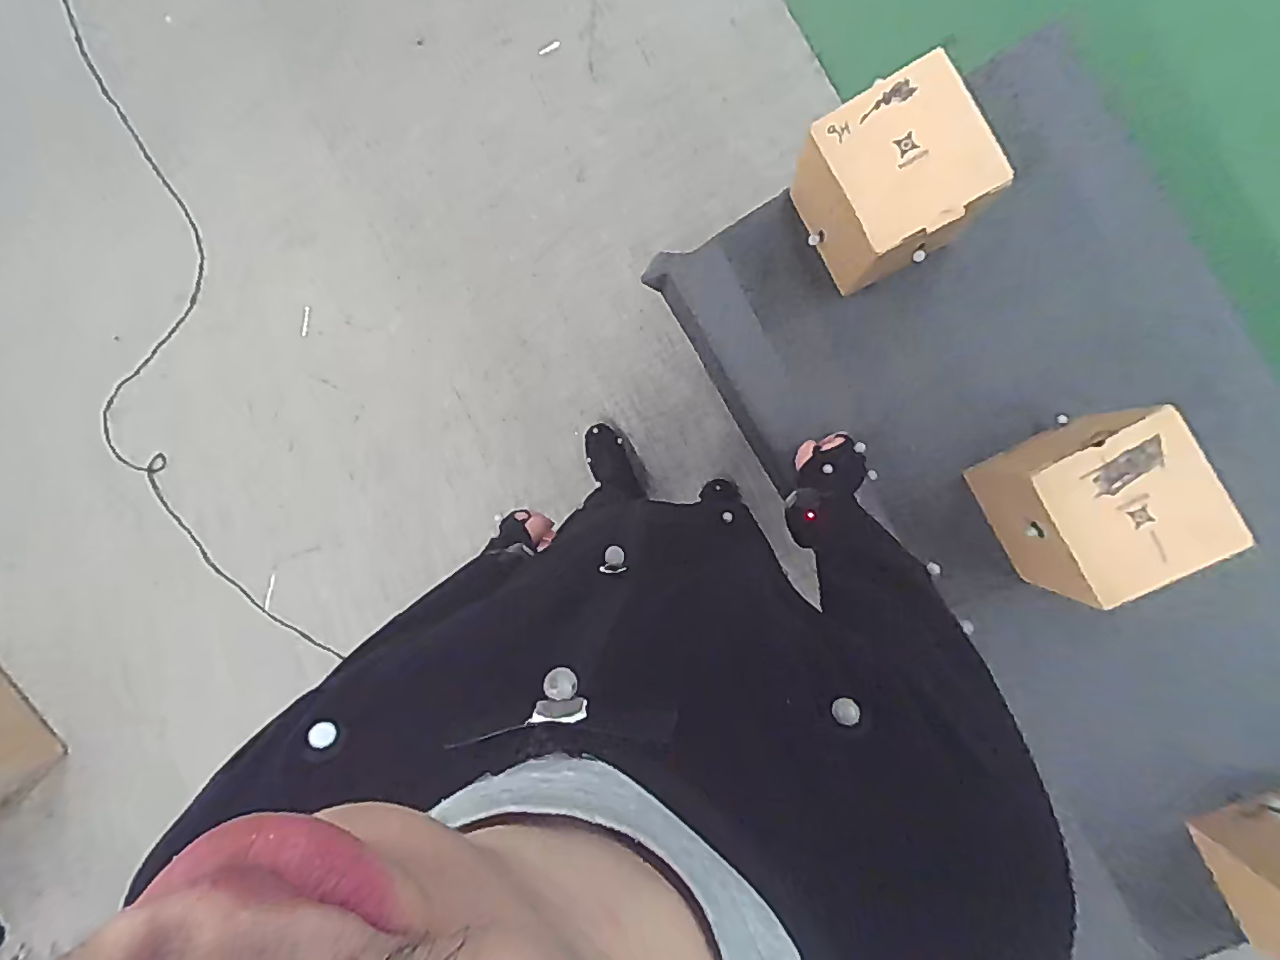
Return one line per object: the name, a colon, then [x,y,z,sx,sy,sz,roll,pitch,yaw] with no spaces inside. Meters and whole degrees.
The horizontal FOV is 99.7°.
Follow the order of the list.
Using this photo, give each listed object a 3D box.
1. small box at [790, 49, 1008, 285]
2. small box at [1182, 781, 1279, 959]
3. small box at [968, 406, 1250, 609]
small box: [0.310,-0.372,0.688,0.168,0.176,0.179,-27,89,8]
small box: [0.830,0.503,0.644,0.168,0.176,0.179,-27,87,8]
small box: [0.551,0.029,0.668,0.168,0.176,0.179,-28,89,9]
